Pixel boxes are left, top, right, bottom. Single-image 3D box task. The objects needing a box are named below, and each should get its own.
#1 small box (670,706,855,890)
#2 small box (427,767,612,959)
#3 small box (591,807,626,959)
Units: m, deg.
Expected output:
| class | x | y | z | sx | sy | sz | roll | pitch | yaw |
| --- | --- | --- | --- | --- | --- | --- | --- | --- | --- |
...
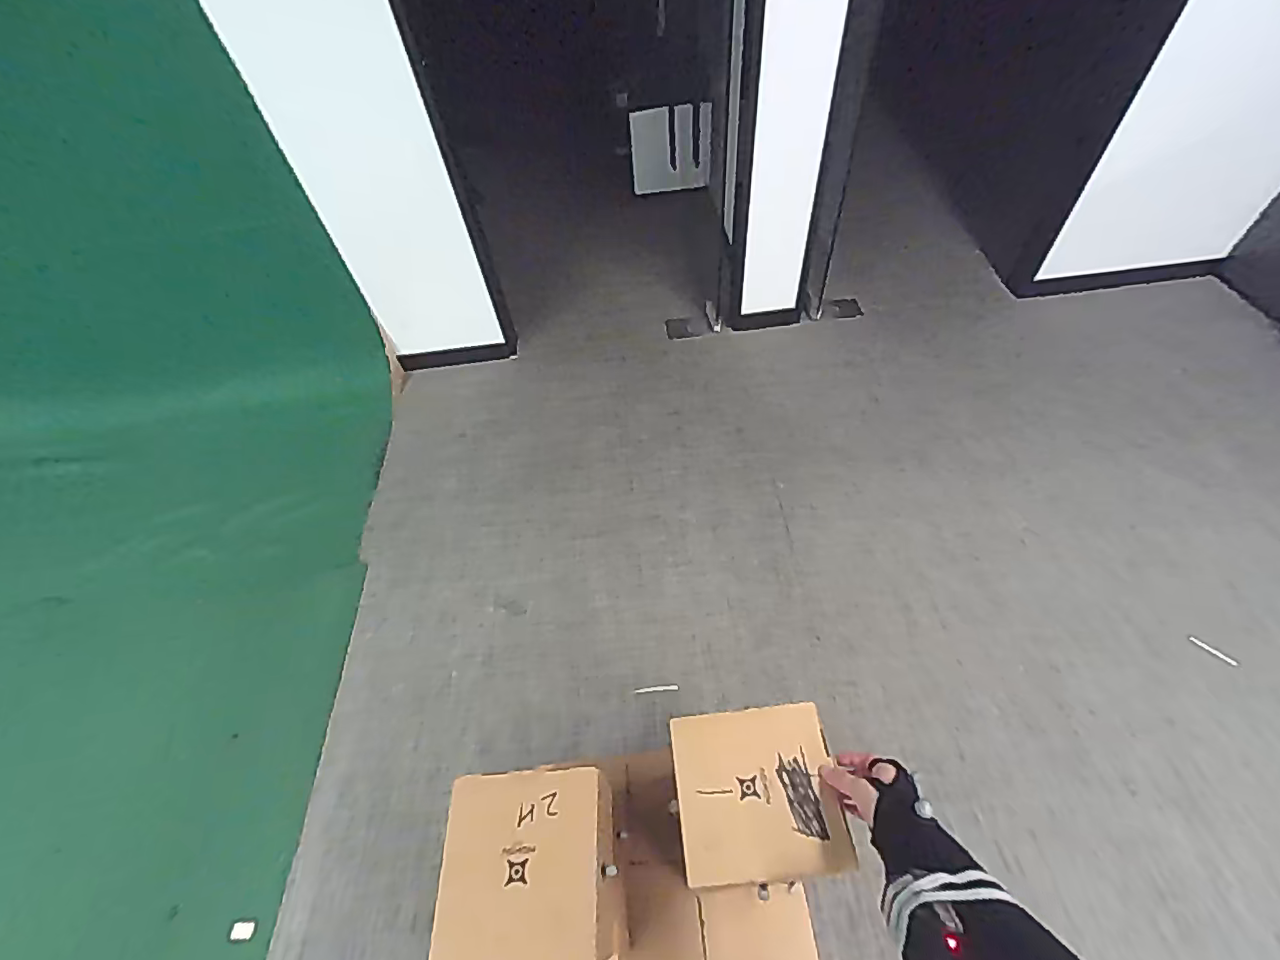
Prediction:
| class | x | y | z | sx | sy | sz | roll | pitch | yaw |
| --- | --- | --- | --- | --- | --- | --- | --- | --- | --- |
| small box | 0.134 | 0.386 | 0.654 | 0.179 | 0.176 | 0.168 | -7 | 52 | 3 |
| small box | -0.123 | 0.447 | 0.631 | 0.168 | 0.176 | 0.179 | -3 | 53 | 2 |
| small box | -0.110 | 0.557 | 0.754 | 0.168 | 0.176 | 0.179 | -5 | 53 | 1 |
